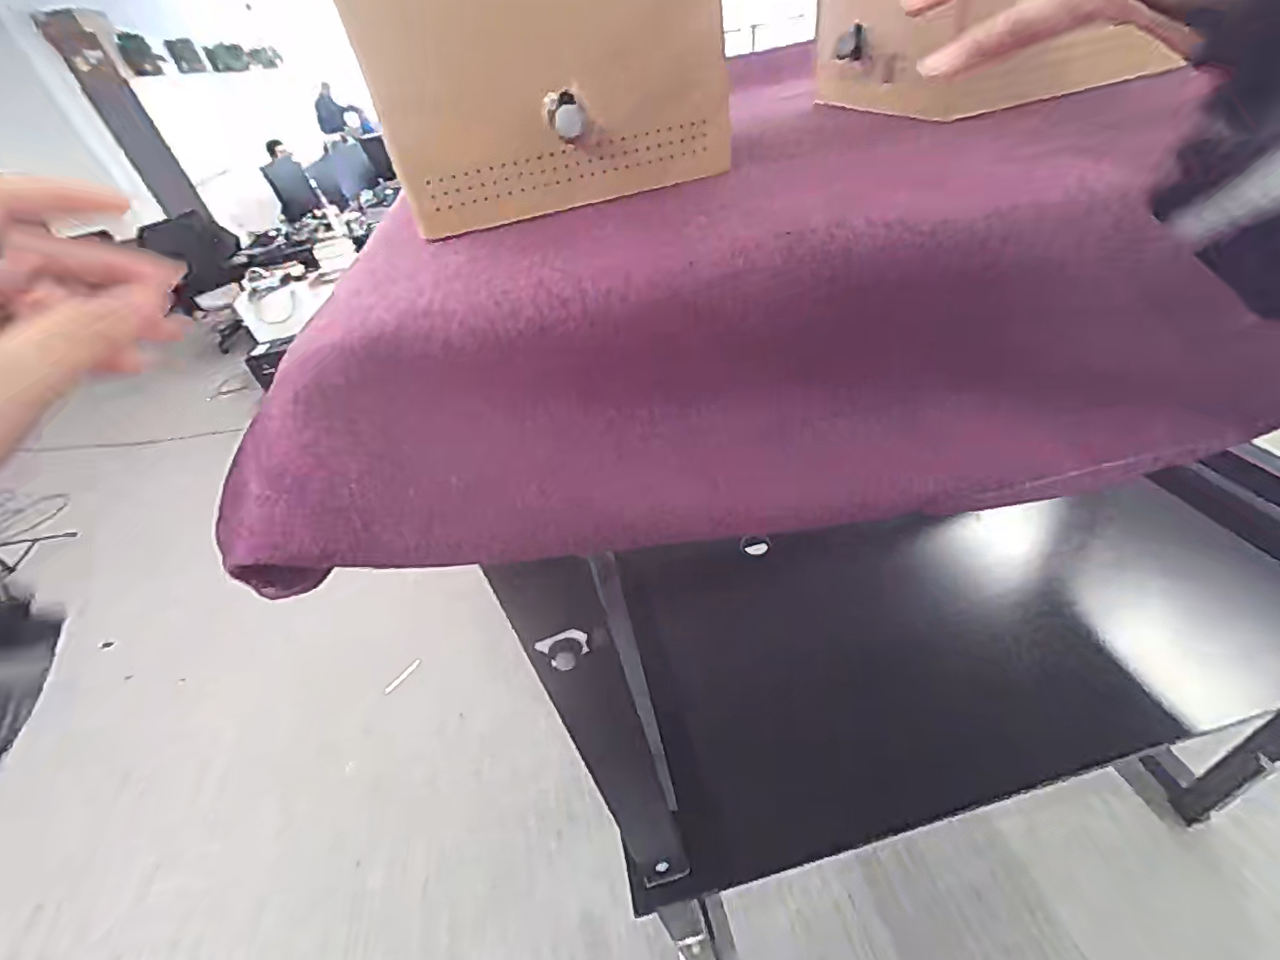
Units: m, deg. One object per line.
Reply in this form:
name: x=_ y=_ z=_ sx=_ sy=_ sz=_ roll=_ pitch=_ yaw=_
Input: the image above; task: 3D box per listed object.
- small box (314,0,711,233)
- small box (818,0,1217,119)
small box: x=-0.068 y=-0.254 z=0.292 sx=0.179 sy=0.176 sz=0.168 roll=-17 pitch=39 yaw=-7
small box: x=0.221 y=-0.334 z=0.317 sx=0.179 sy=0.176 sz=0.168 roll=-16 pitch=39 yaw=-4
